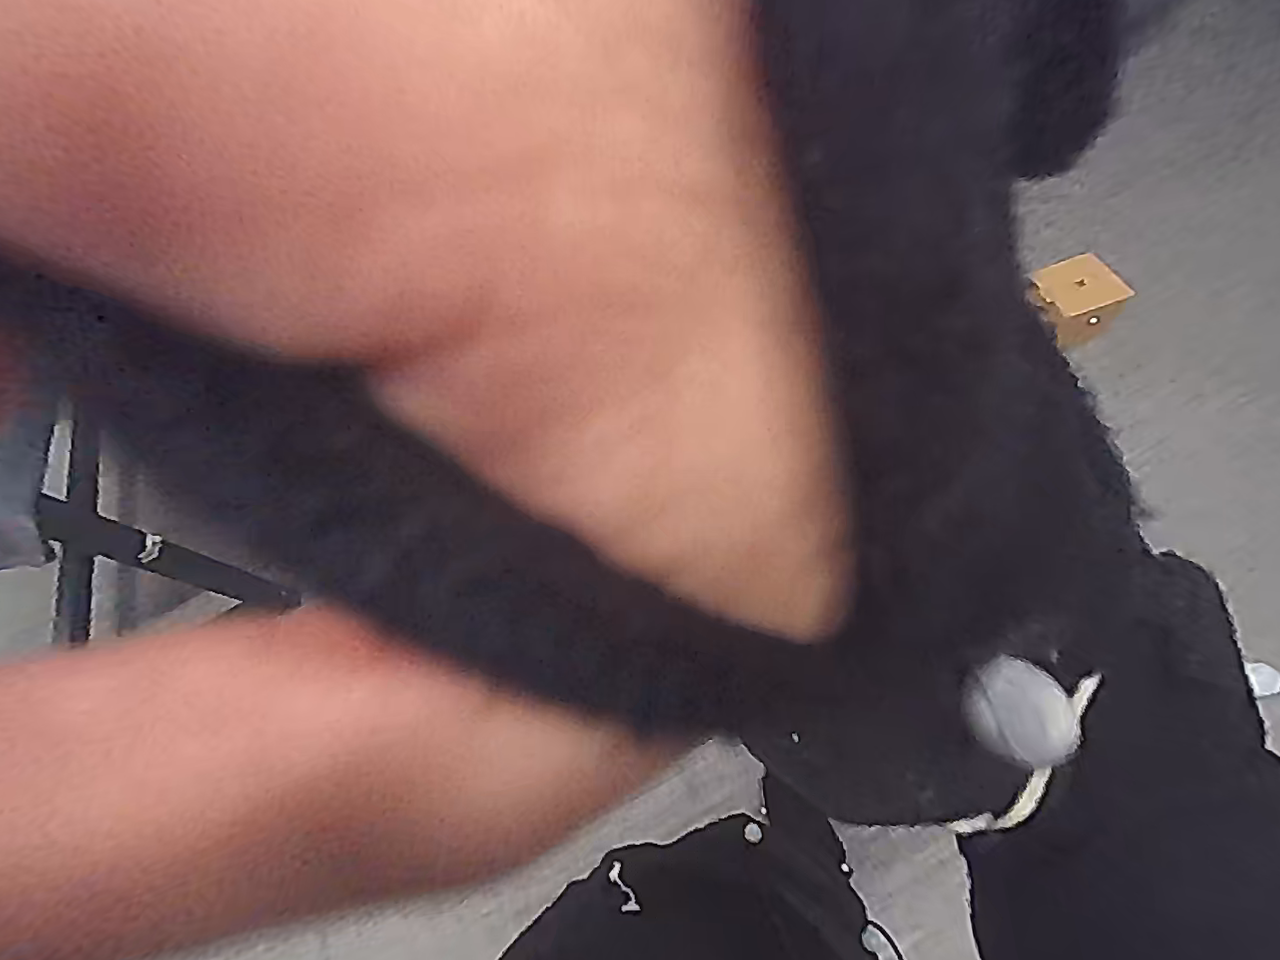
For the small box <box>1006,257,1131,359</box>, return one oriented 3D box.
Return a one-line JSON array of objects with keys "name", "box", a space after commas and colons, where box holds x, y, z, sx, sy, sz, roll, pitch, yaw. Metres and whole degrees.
[{"name": "small box", "box": [1.116, -0.449, 1.433, 0.179, 0.176, 0.168, -19, 62, 0]}]
